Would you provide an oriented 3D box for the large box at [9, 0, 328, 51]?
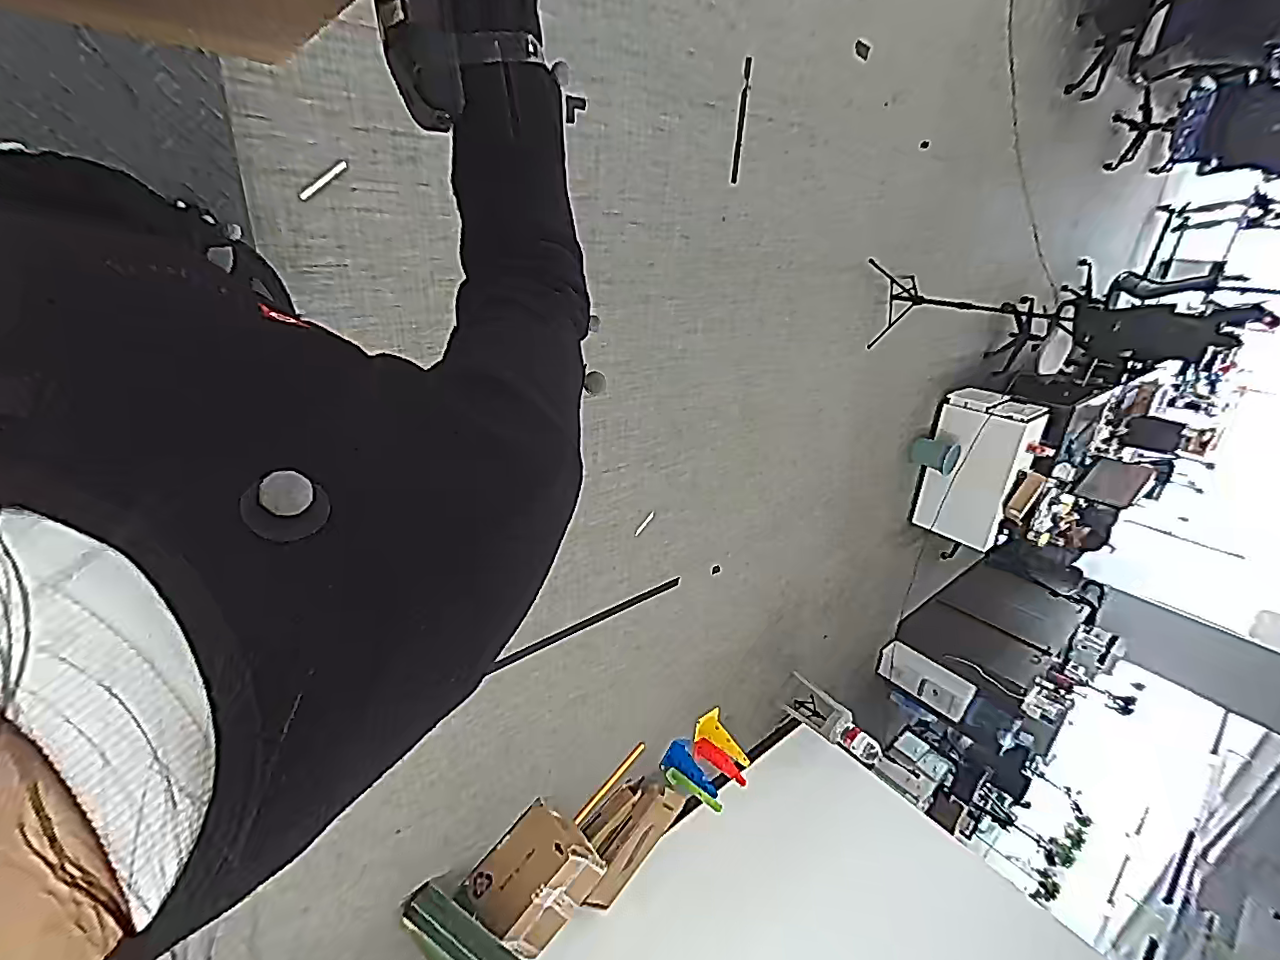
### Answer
[{"bbox_3d":[-0.368,-0.410,0.195,0.408,0.320,0.320,-16,124,-37],"label":"large box"}]
